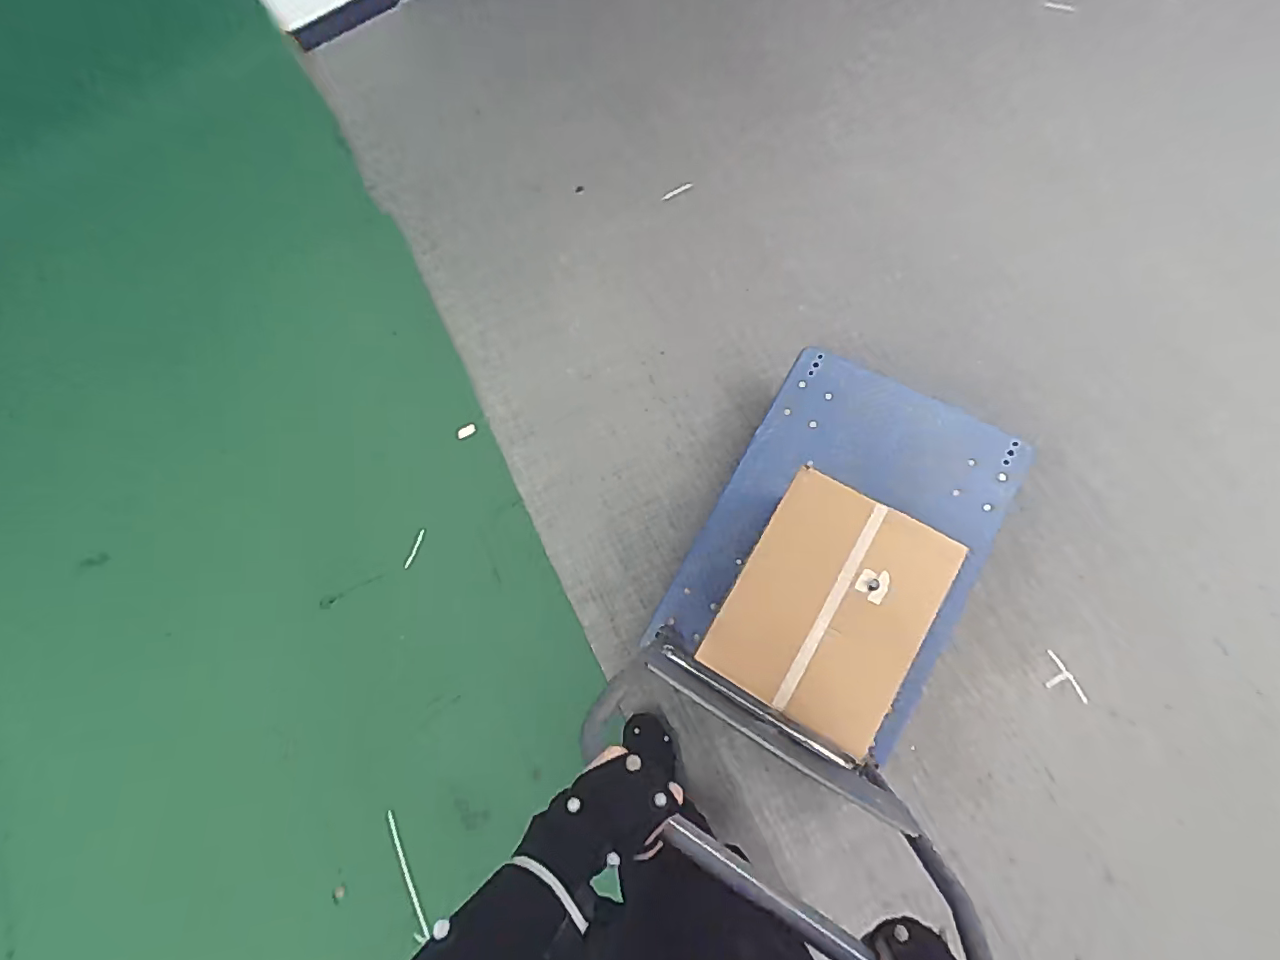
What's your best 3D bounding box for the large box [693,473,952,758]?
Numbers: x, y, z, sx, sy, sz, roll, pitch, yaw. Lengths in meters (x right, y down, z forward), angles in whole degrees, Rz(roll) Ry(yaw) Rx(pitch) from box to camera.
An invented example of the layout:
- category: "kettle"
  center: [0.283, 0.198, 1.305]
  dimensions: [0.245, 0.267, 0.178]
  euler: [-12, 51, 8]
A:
- category: "large box"
  center: [0.341, 0.261, 1.099]
  dimensions: [0.320, 0.320, 0.408]
  euler: [30, 82, 13]
